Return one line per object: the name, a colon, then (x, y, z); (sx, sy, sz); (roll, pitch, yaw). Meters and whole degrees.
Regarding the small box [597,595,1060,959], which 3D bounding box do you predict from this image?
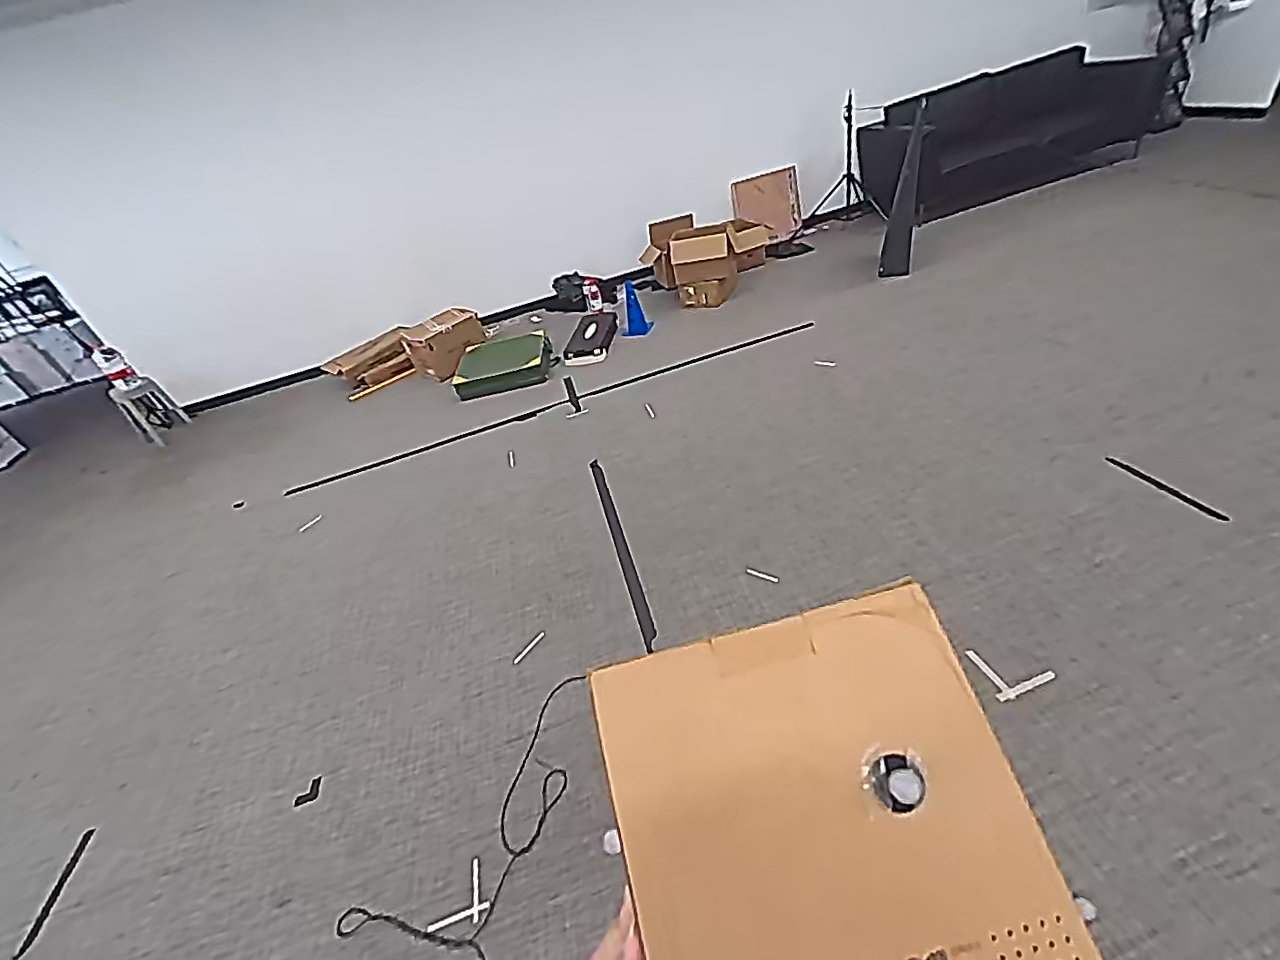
small box: (0.085, 0.184, 0.316); (0.168, 0.179, 0.176); (-16, 67, 0)
